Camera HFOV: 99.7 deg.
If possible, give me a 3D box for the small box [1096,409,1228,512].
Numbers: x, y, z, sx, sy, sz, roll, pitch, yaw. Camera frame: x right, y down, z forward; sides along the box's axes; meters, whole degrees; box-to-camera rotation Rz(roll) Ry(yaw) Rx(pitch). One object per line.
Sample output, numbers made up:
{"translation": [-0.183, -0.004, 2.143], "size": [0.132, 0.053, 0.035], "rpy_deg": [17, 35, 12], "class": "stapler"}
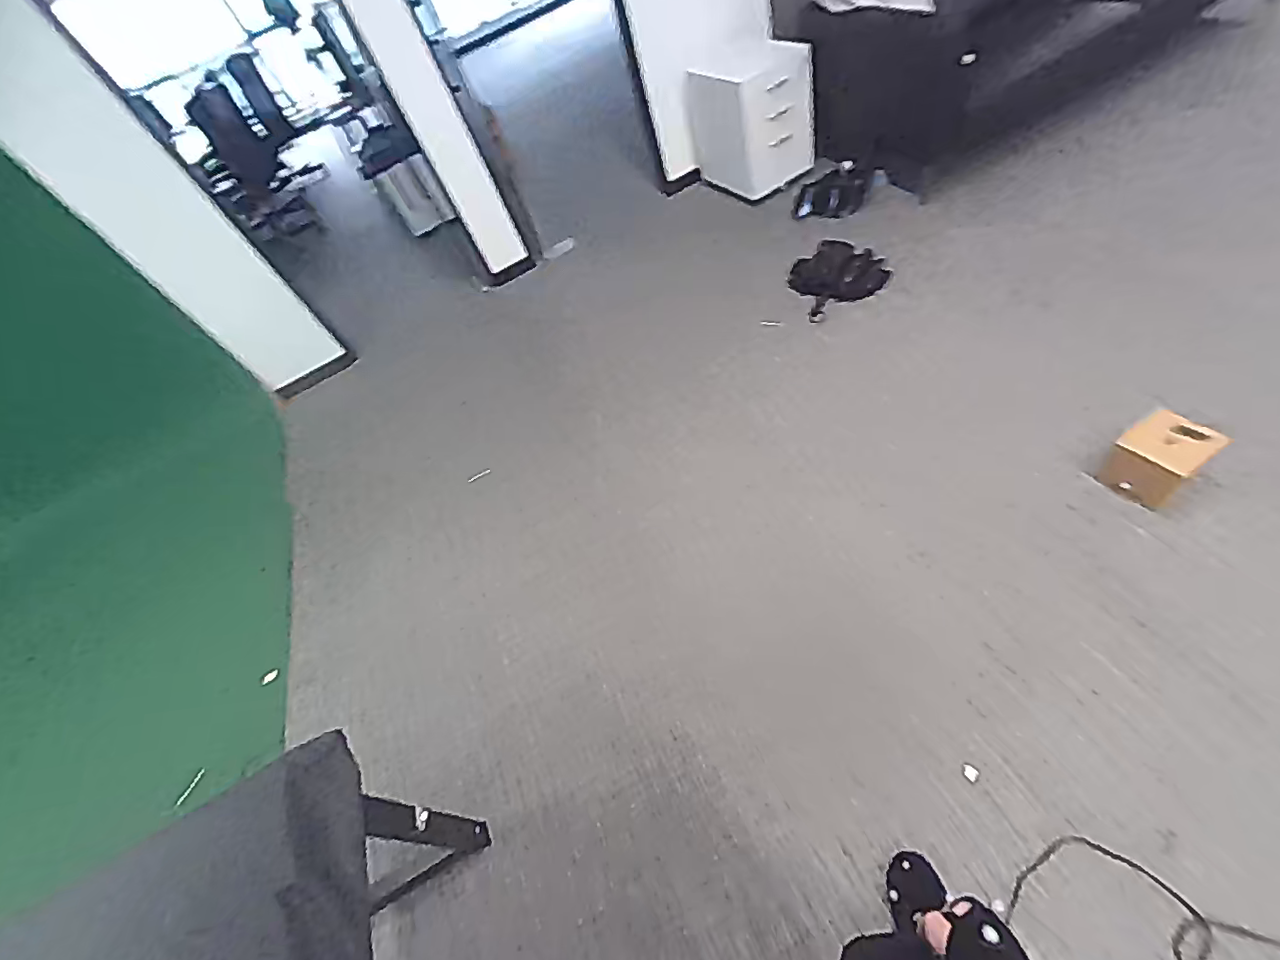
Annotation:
{"translation": [1.377, -0.050, 1.442], "size": [0.179, 0.176, 0.168], "rpy_deg": [-35, 49, -7], "class": "small box"}
